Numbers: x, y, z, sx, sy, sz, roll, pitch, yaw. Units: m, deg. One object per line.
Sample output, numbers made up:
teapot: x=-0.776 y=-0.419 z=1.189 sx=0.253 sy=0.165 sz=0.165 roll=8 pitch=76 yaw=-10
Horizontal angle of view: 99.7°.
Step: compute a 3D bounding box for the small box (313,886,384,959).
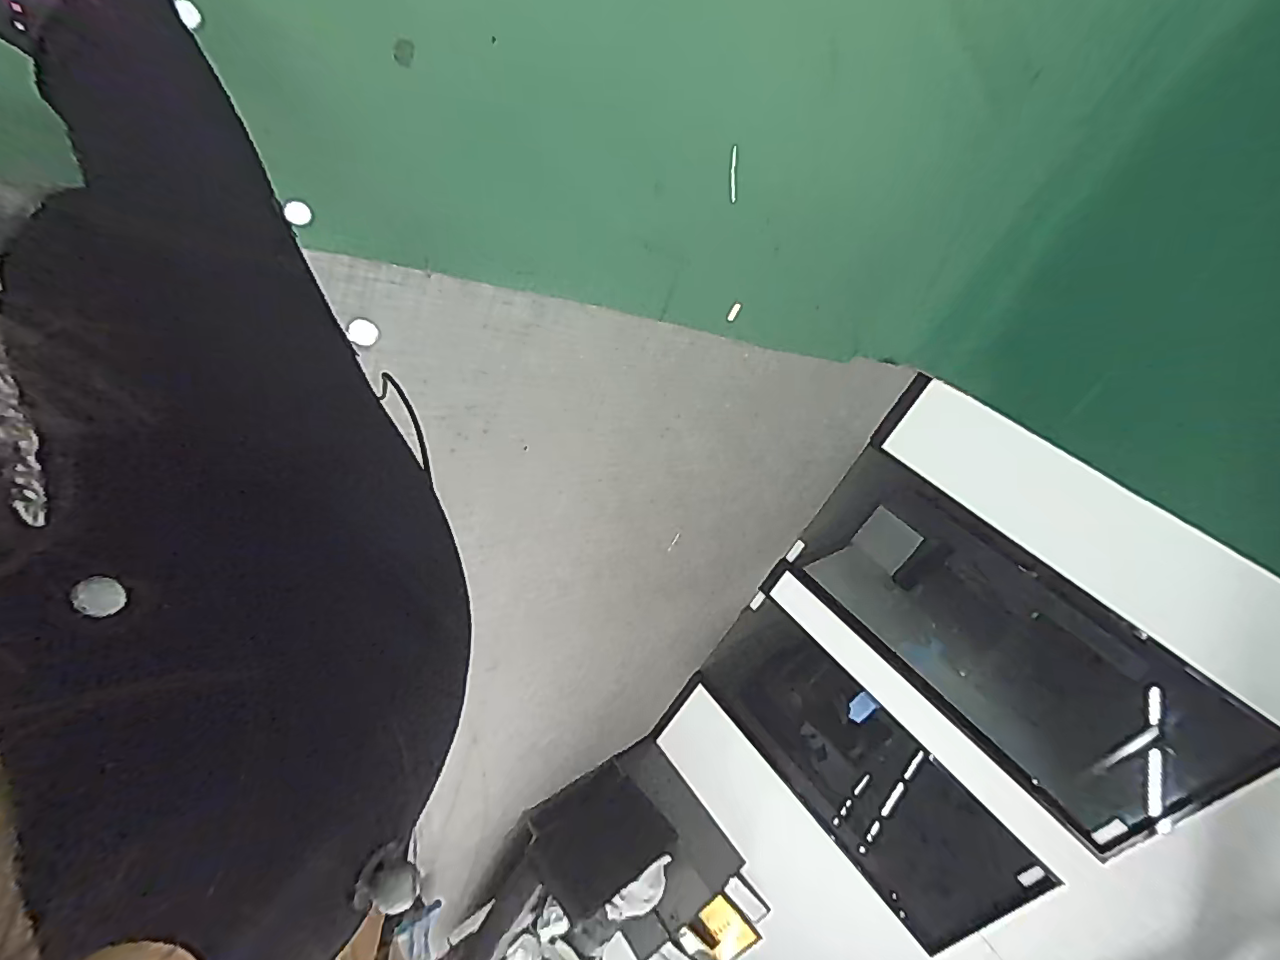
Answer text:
small box: x=-1.052 y=1.613 z=1.944 sx=0.168 sy=0.176 sz=0.179 roll=-5 pitch=132 yaw=-49
